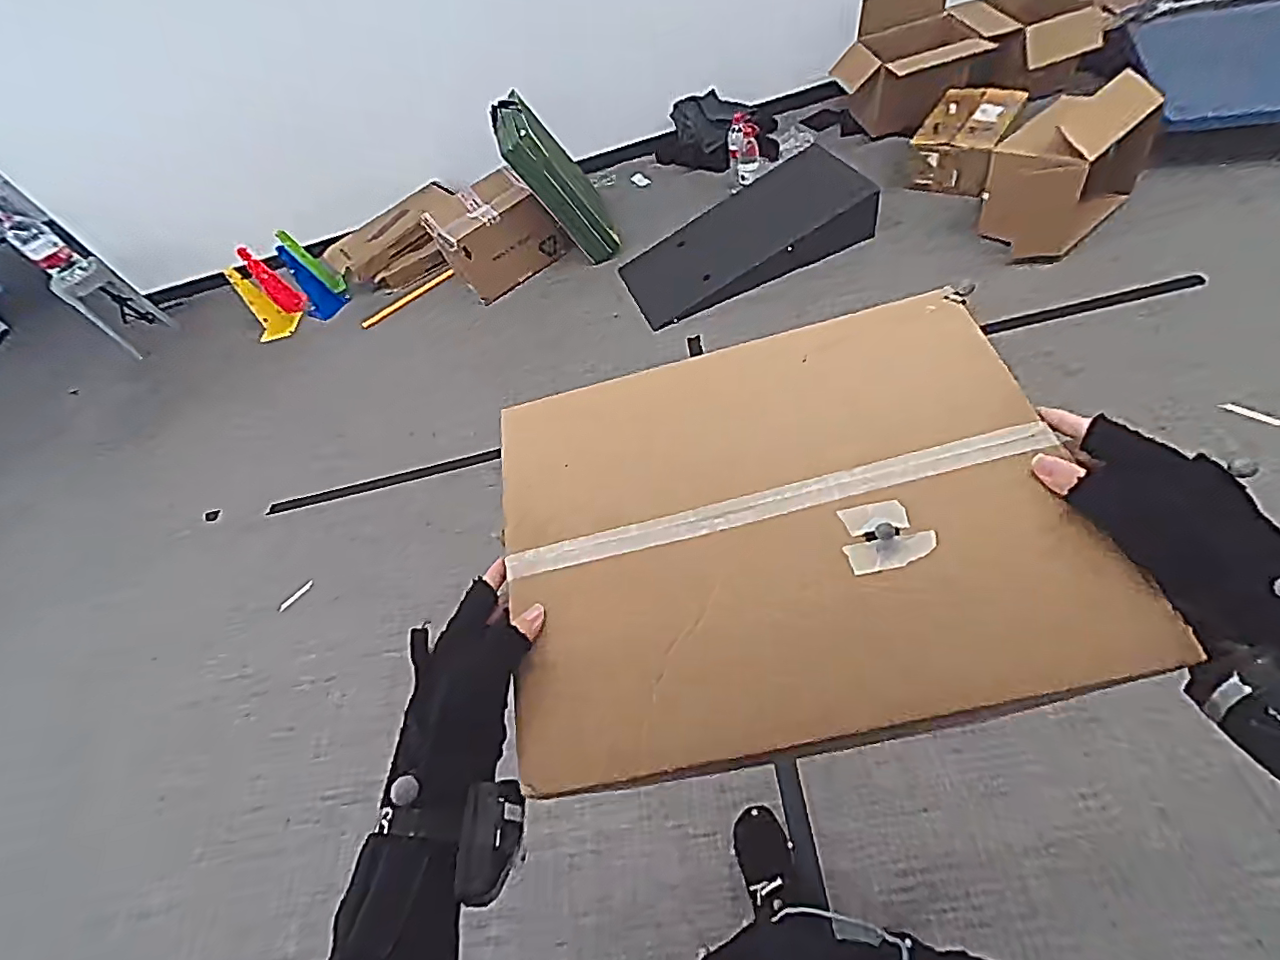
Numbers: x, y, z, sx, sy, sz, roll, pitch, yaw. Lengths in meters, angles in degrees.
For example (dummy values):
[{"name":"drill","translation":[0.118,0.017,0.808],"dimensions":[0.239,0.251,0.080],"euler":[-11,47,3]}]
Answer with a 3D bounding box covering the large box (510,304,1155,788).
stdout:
[{"name":"large box","translation":[0.123,0.093,0.542],"dimensions":[0.408,0.320,0.320],"euler":[-15,60,5]}]
